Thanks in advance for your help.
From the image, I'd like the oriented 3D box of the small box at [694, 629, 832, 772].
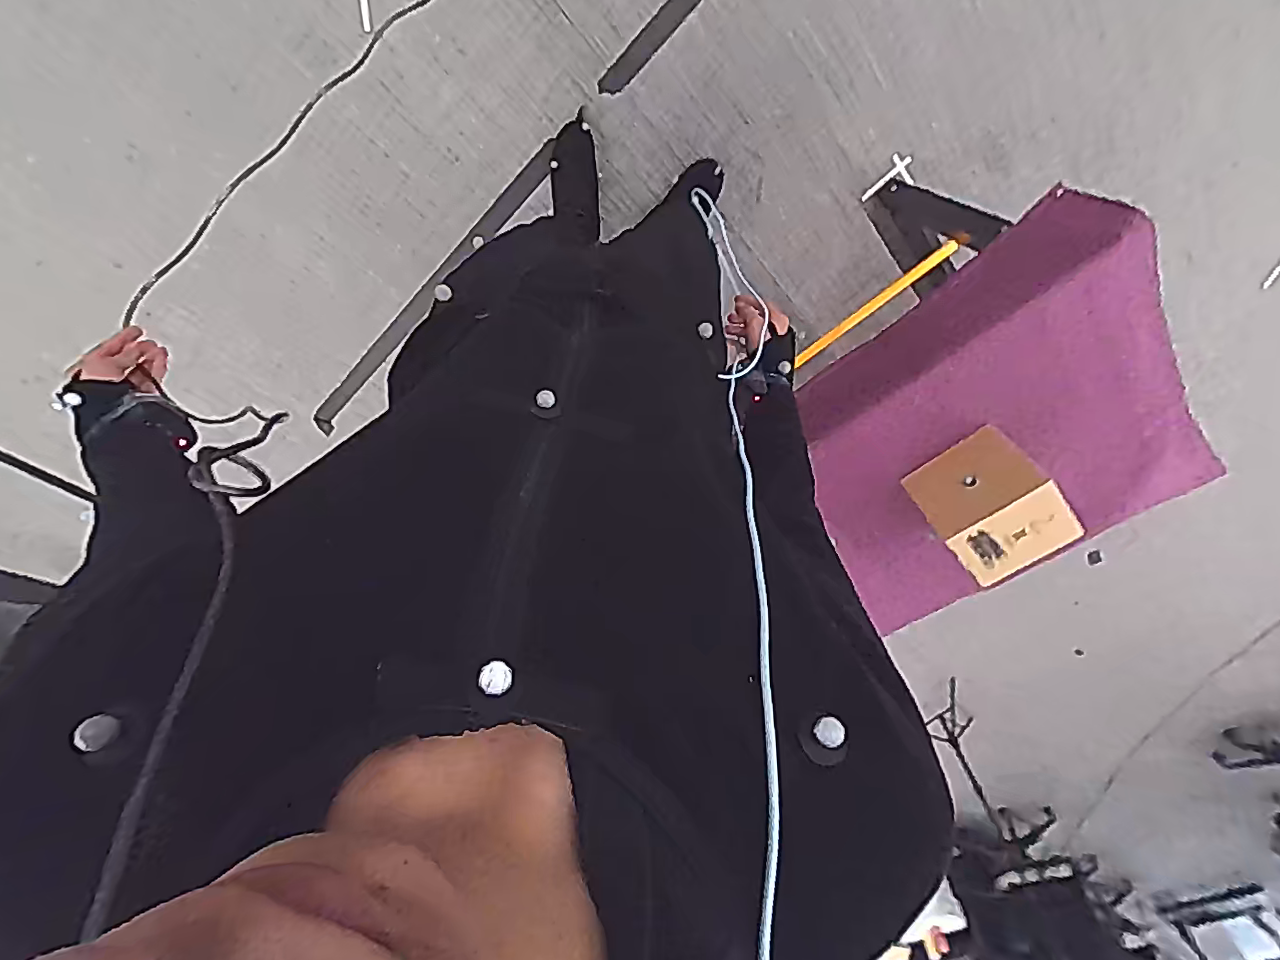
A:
[{"bbox_3d":[0.222,0.409,1.009,0.168,0.176,0.179,-37,122,22],"label":"small box"}]
